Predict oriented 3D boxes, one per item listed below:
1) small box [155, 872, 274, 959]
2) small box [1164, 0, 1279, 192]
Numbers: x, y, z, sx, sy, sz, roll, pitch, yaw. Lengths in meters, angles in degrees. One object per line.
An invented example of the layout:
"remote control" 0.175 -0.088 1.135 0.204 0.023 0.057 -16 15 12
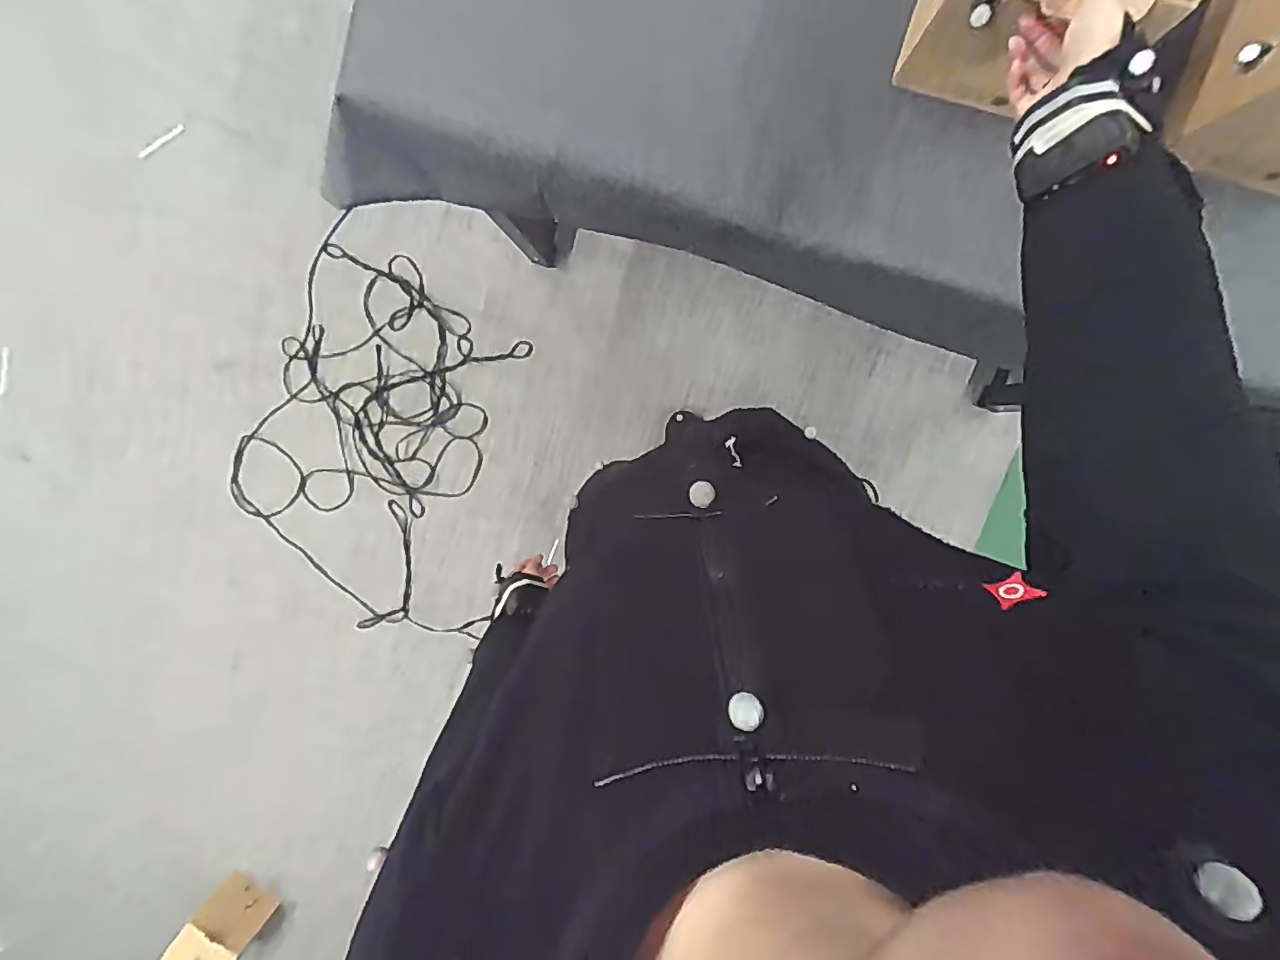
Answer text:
"small box" -1.175 1.257 1.503 0.168 0.176 0.179 37 97 -1
"small box" 0.614 -0.374 0.456 0.168 0.176 0.179 16 97 0
